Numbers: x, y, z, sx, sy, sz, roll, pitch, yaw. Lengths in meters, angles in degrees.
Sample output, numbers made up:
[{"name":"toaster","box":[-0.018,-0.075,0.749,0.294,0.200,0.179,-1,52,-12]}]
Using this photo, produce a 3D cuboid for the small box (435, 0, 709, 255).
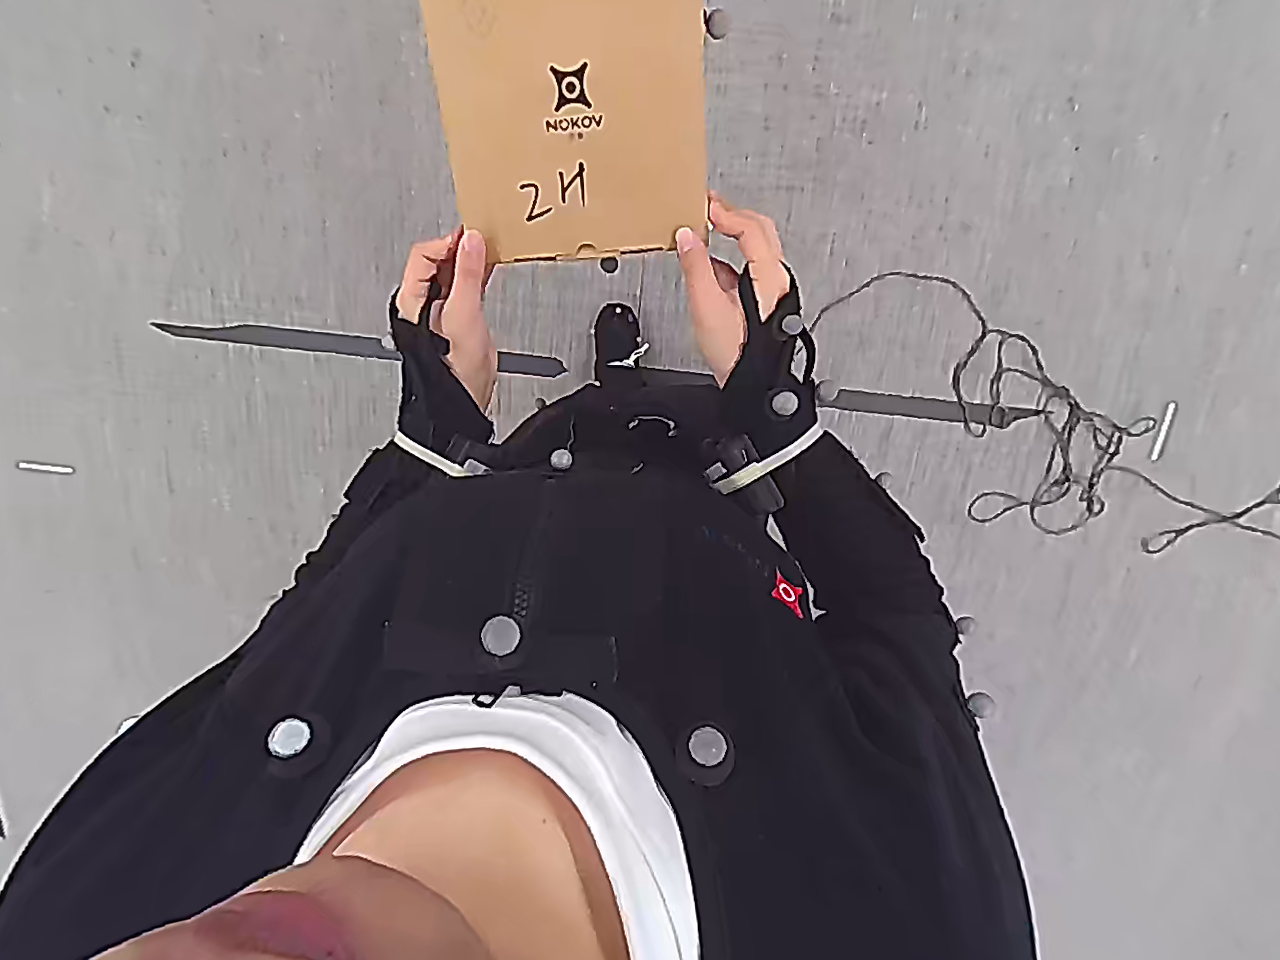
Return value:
[{"name":"small box","box":[-0.033,-0.269,0.411,0.168,0.176,0.179,-1,114,6]}]
